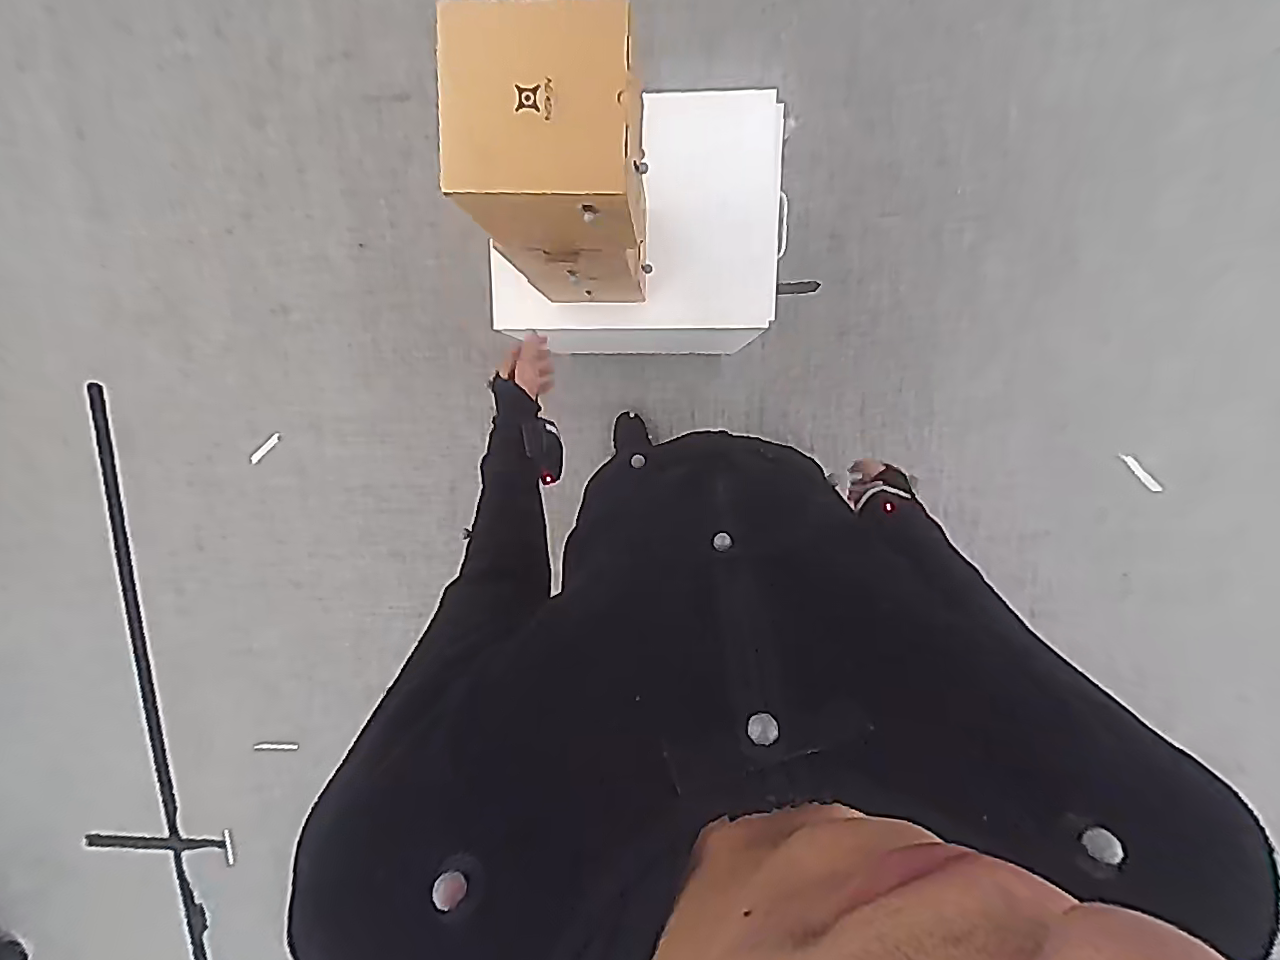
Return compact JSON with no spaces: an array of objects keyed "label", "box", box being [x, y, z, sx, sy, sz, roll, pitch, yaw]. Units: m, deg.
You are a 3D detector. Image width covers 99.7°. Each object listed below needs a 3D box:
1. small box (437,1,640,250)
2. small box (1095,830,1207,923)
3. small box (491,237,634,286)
[{"label":"small box","box":[-0.093,-0.350,0.567,0.179,0.176,0.168,1,97,2]},{"label":"small box","box":[1.561,1.210,1.659,0.179,0.176,0.168,0,98,3]},{"label":"small box","box":[-0.094,-0.374,0.729,0.168,0.176,0.179,3,98,3]}]
